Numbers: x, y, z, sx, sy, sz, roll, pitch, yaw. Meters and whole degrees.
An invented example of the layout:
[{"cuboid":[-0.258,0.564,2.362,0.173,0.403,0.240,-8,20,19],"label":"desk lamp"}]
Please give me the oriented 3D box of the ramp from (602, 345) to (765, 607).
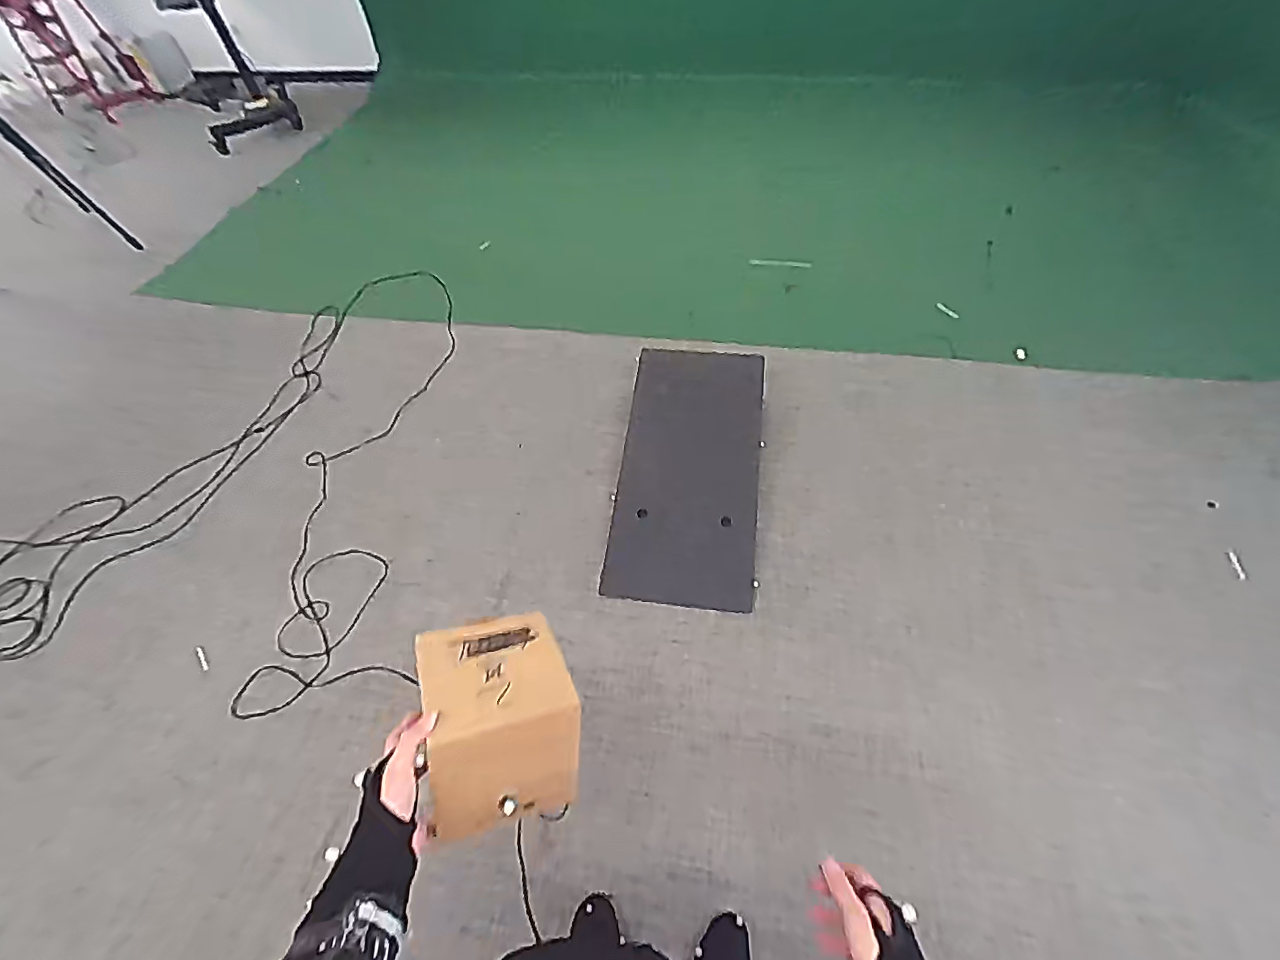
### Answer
[{"cuboid":[0.182,-0.068,1.917,0.509,0.206,0.991,5,55,6],"label":"ramp"}]
